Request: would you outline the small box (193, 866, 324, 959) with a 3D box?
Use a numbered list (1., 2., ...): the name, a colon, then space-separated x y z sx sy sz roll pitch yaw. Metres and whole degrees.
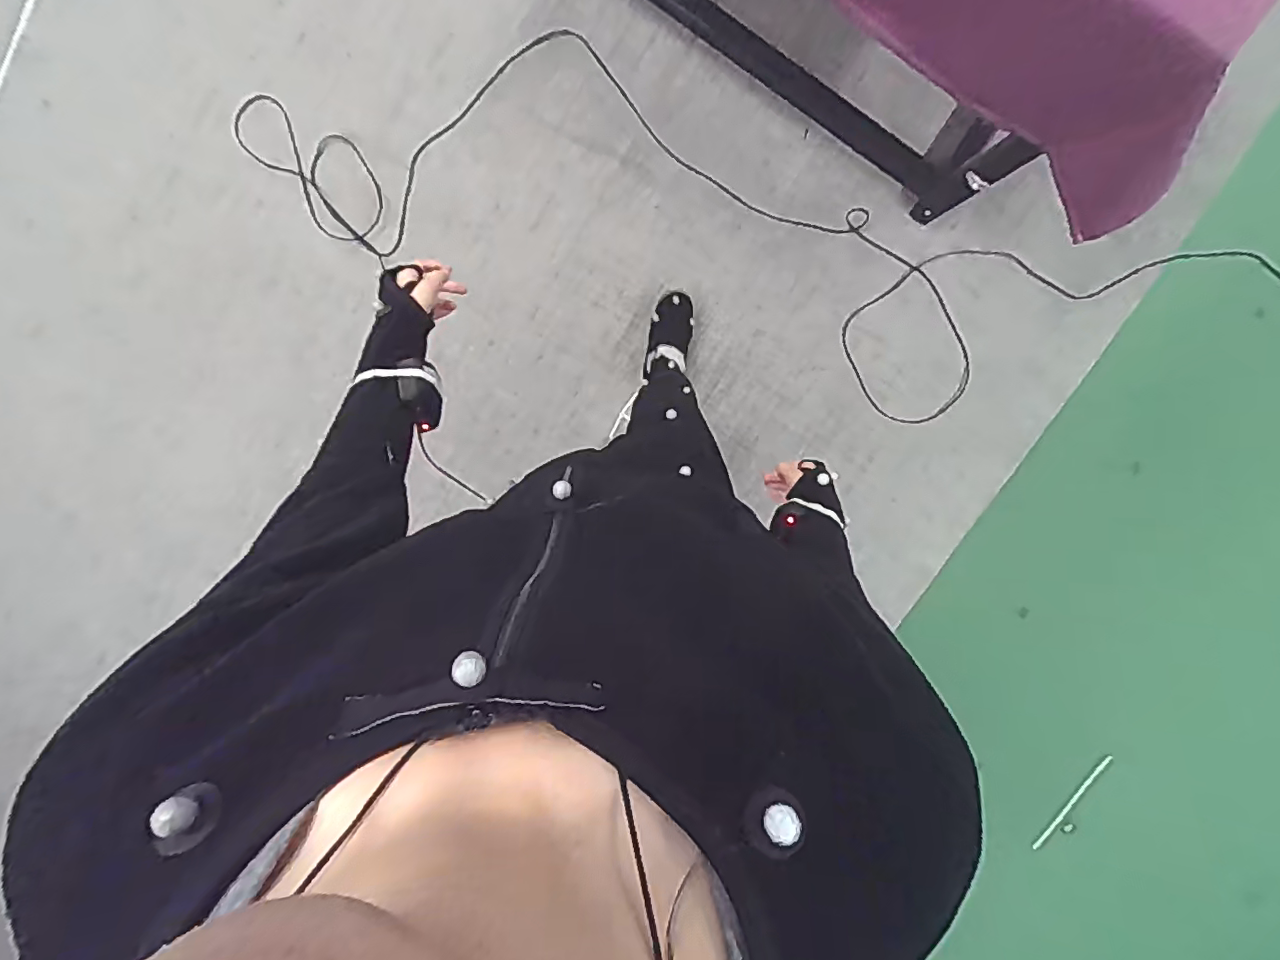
1. small box: -0.960 1.148 1.382 0.168 0.176 0.179 -44 96 5
